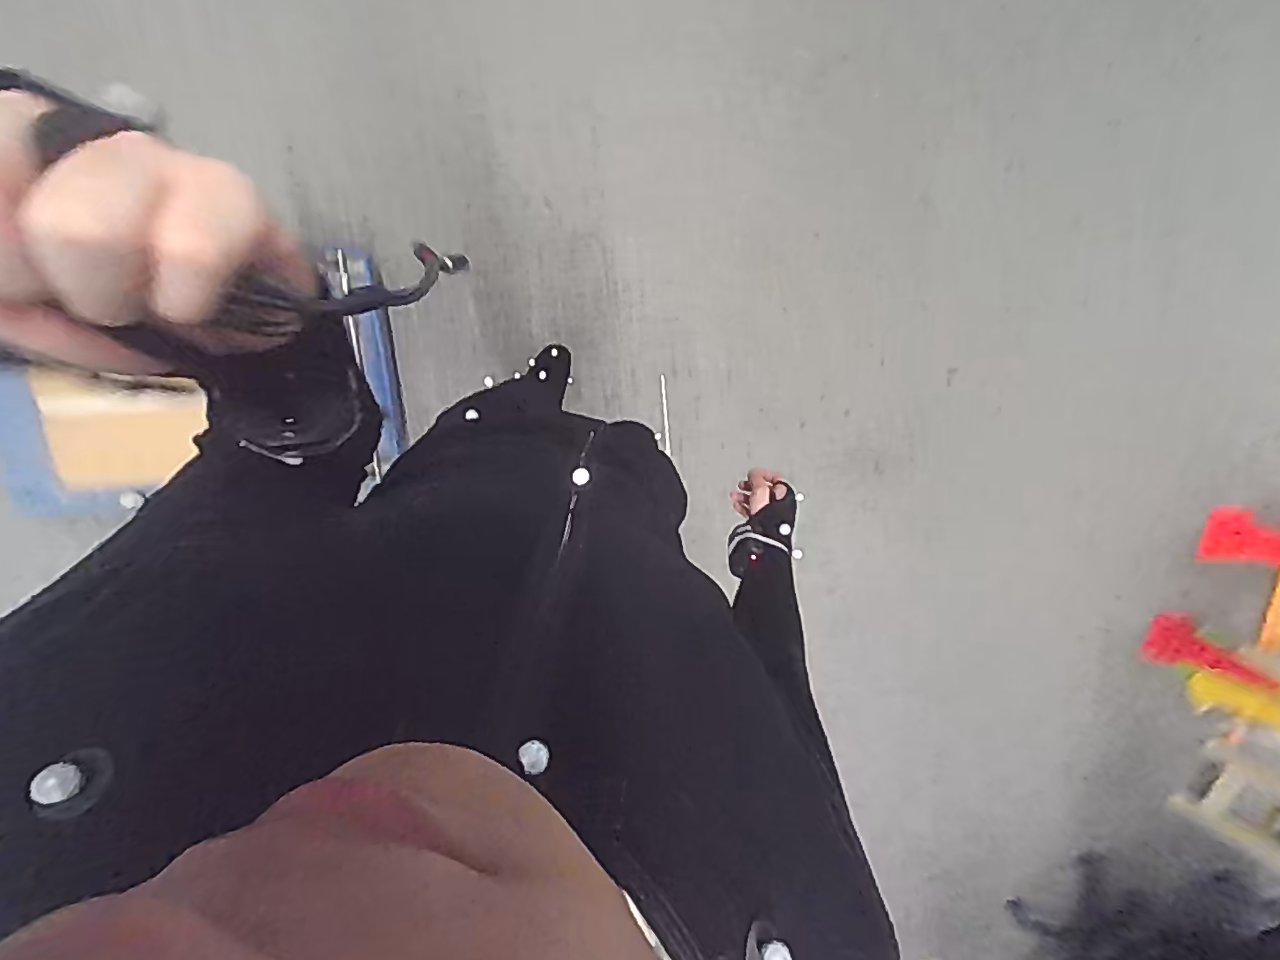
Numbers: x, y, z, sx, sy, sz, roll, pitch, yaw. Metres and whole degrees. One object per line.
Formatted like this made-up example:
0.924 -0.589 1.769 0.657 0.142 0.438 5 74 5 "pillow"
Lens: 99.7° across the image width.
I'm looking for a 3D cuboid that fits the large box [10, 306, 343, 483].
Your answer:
-0.910 -0.188 1.136 0.408 0.320 0.320 -3 102 -9 "large box"
